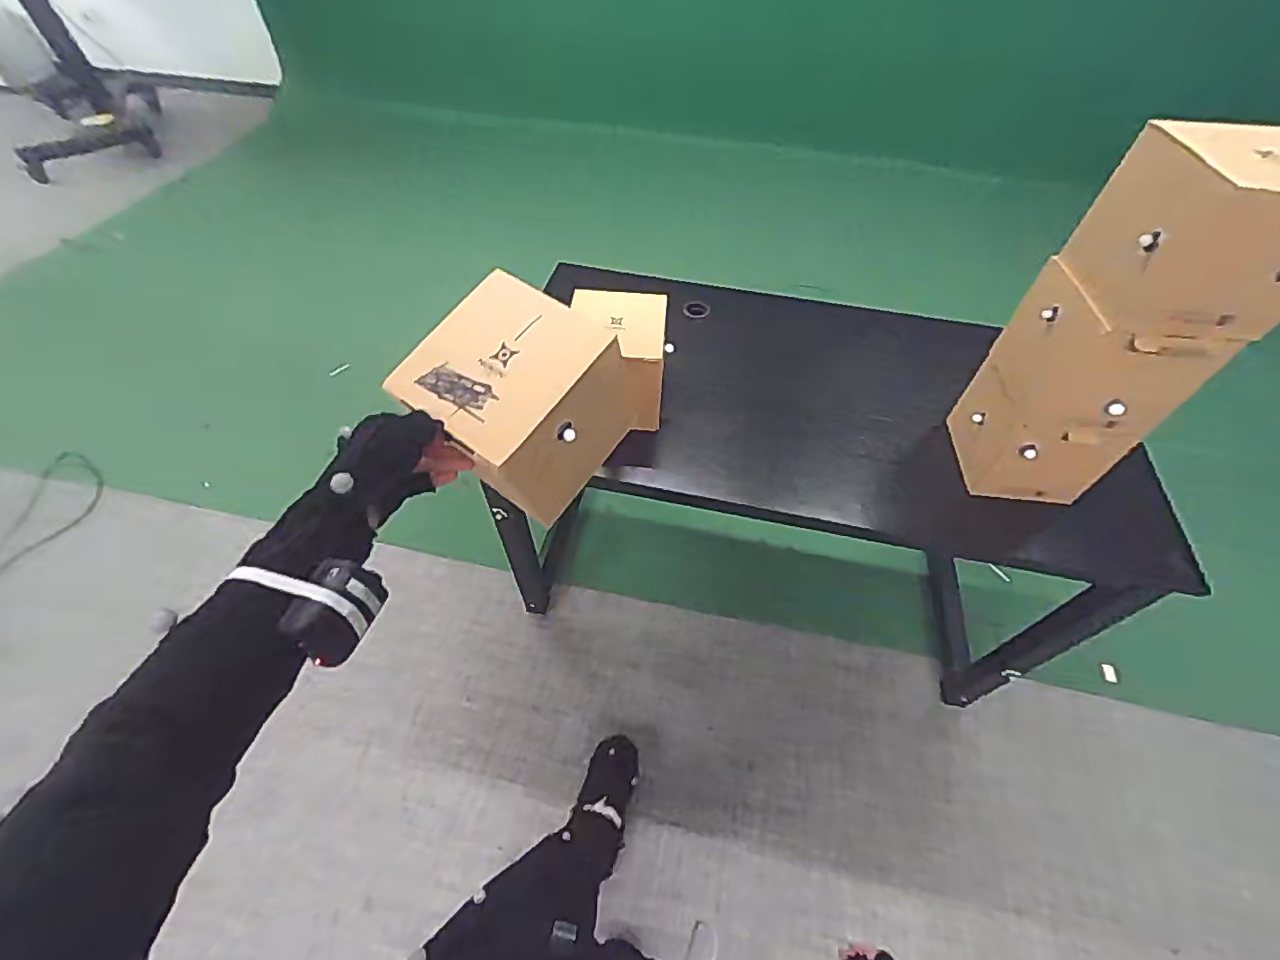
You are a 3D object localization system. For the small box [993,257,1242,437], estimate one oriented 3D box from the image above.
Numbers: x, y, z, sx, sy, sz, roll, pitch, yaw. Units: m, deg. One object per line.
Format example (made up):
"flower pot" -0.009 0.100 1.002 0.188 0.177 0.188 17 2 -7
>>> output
"small box" 0.637 -0.185 0.756 0.168 0.176 0.179 4 53 2

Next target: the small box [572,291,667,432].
"small box" -0.043 -0.210 0.967 0.168 0.176 0.179 4 54 1

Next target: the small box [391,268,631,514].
"small box" -0.124 -0.088 0.602 0.168 0.176 0.179 33 74 18

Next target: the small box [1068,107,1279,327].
"small box" 0.647 -0.293 0.613 0.168 0.176 0.179 4 52 2
